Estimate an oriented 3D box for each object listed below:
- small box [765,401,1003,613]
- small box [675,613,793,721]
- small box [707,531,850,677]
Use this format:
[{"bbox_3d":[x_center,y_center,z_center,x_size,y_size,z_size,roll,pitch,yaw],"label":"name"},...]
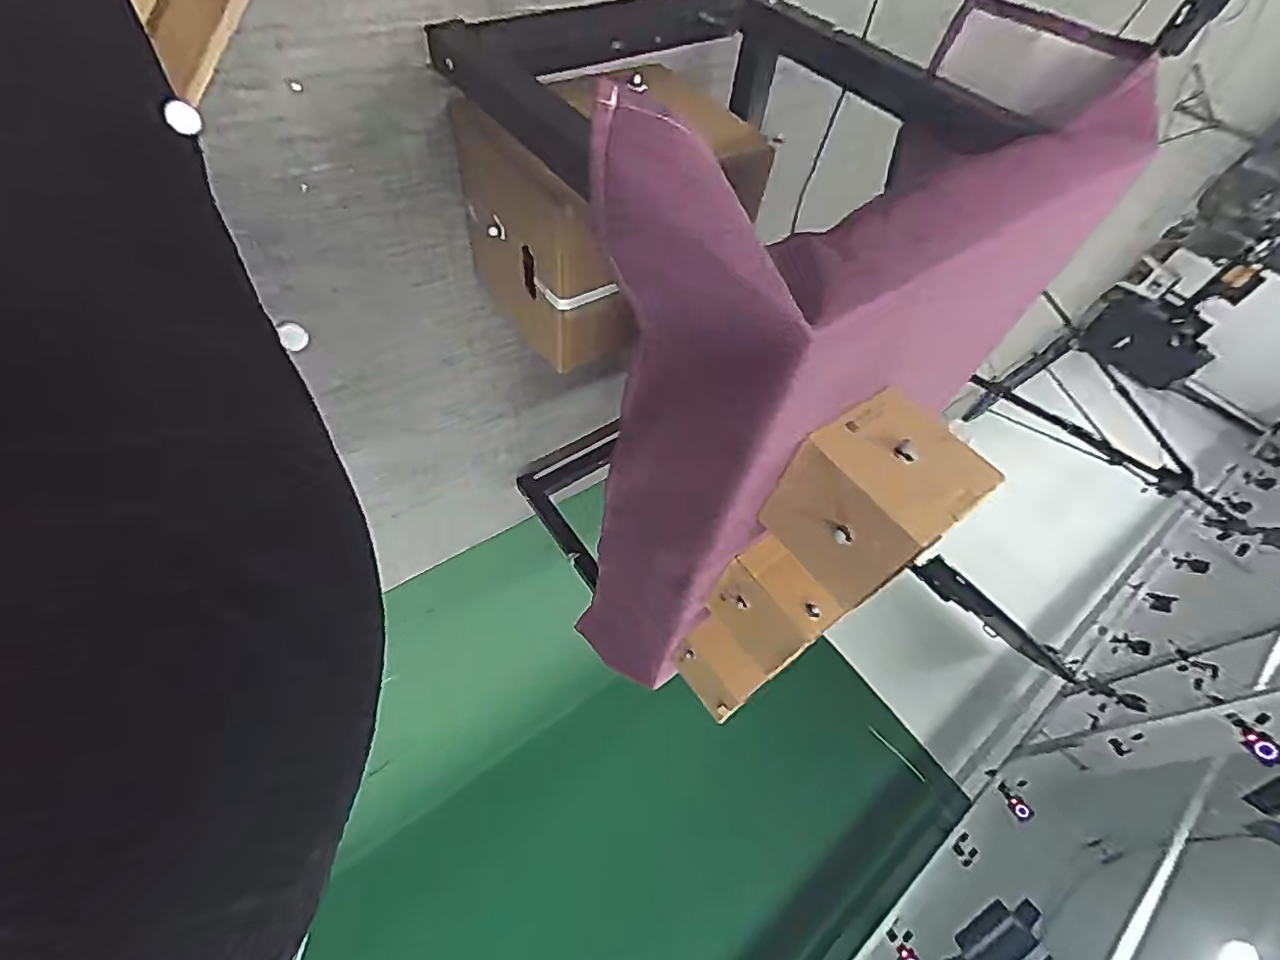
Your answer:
[{"bbox_3d":[0.282,0.025,0.664,0.168,0.176,0.179,-28,153,-25],"label":"small box"},{"bbox_3d":[0.199,0.379,1.165,0.179,0.176,0.168,-29,154,-26],"label":"small box"},{"bbox_3d":[0.246,0.191,0.909,0.179,0.176,0.168,-25,152,-29],"label":"small box"}]
